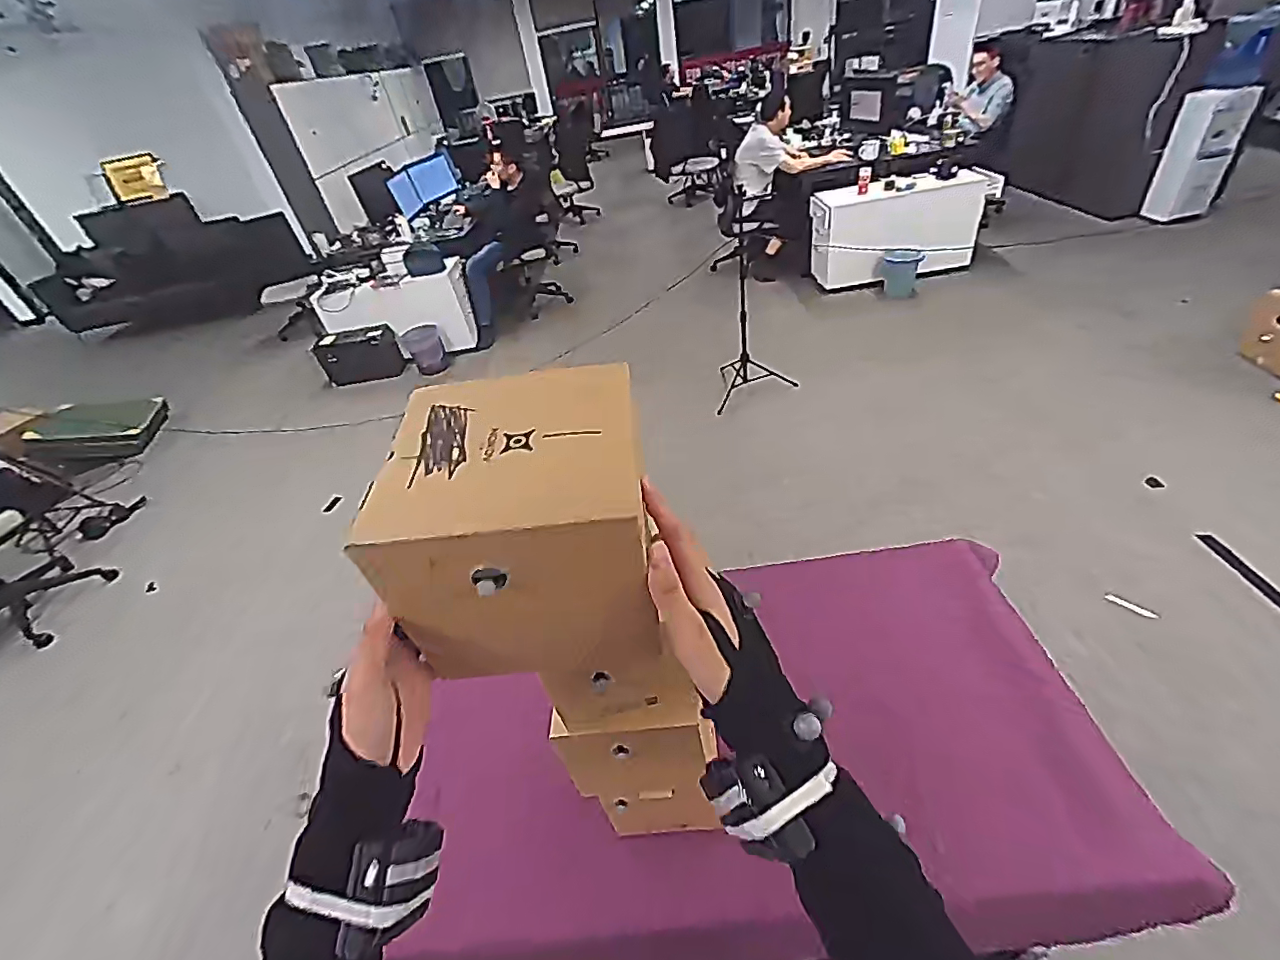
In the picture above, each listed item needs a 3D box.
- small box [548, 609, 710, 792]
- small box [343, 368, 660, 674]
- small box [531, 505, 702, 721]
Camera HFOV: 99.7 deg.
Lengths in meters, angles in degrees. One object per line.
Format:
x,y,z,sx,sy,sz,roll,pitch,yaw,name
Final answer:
-0.007,0.296,0.722,0.179,0.176,0.168,-6,39,6,small box
-0.083,0.036,0.422,0.179,0.176,0.168,-6,44,2,small box
-0.028,0.160,0.635,0.168,0.176,0.179,-11,37,0,small box
